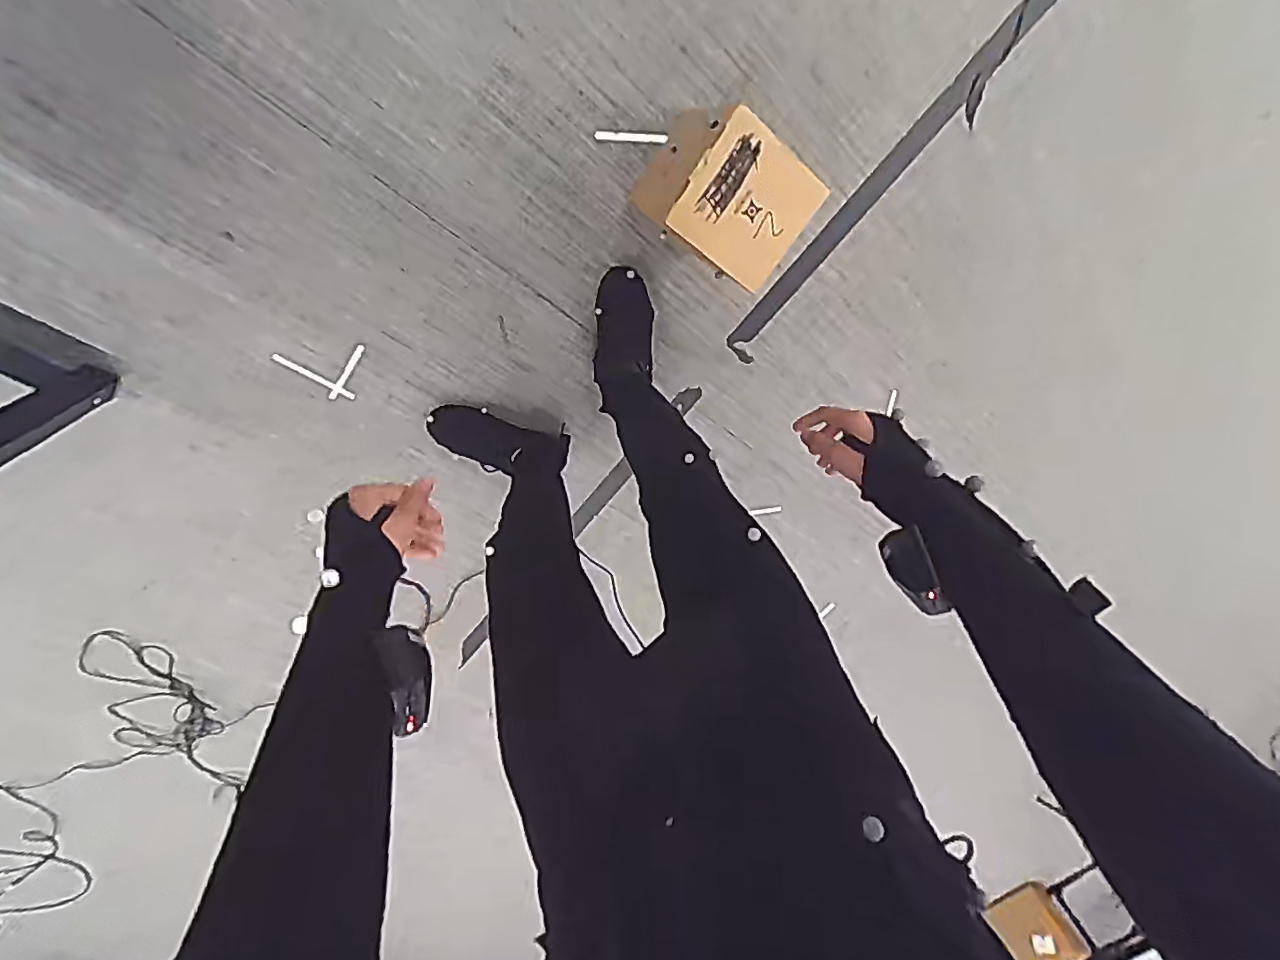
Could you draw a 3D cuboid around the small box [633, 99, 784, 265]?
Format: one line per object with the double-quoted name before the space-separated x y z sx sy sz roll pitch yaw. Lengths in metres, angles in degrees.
"small box" 0.105 -0.506 0.923 0.168 0.176 0.179 30 112 -26
